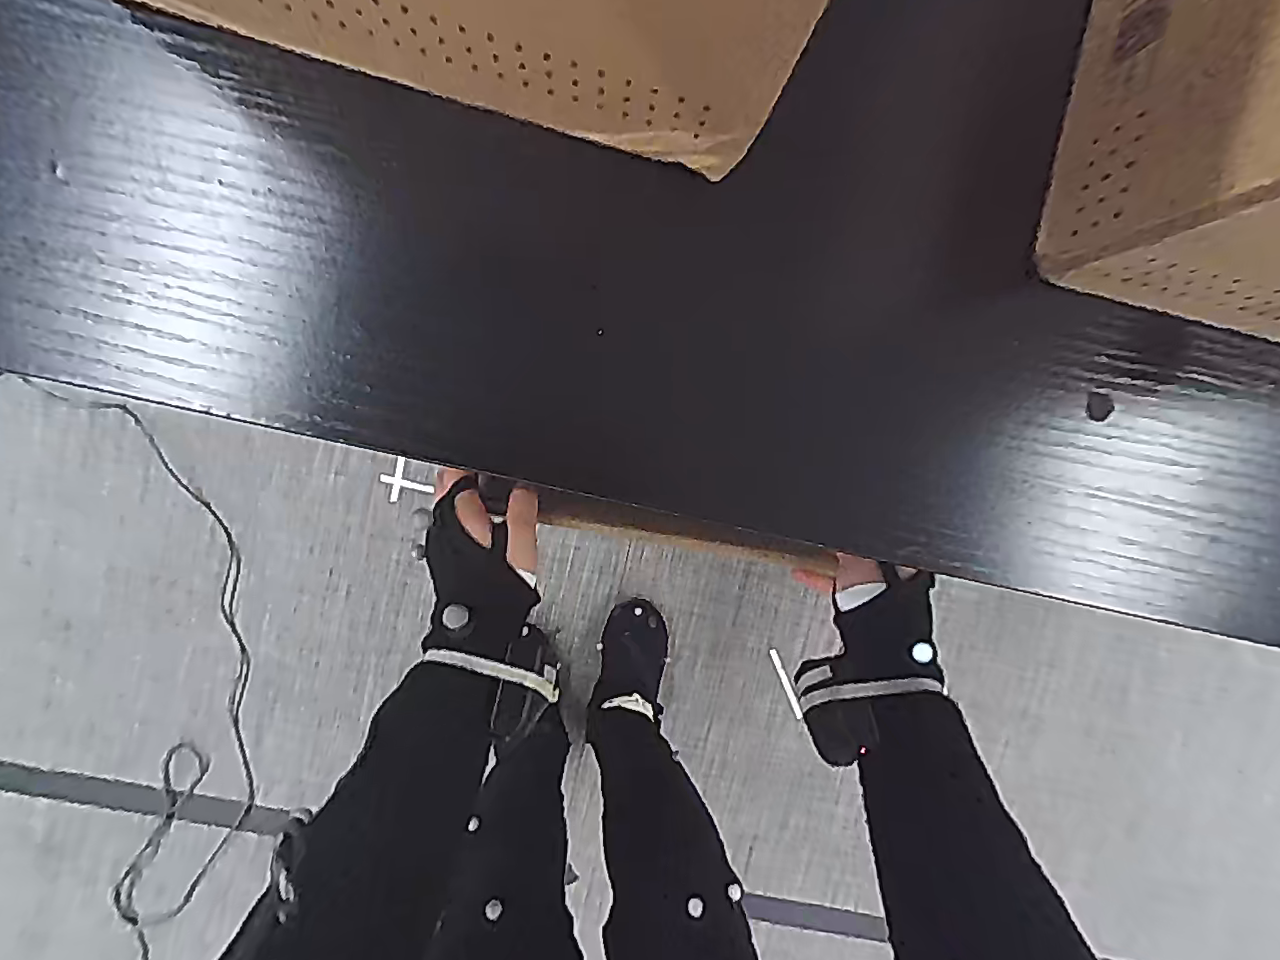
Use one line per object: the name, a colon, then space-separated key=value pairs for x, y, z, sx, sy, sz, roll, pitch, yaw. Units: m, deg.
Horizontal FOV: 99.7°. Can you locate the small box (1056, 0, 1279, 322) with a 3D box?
small box: x=0.230 y=-0.121 z=0.089 sx=0.179 sy=0.176 sz=0.168 roll=11 pitch=93 yaw=-6

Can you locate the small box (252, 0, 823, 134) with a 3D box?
small box: x=-0.025 y=-0.181 z=0.062 sx=0.179 sy=0.176 sz=0.168 roll=13 pitch=94 yaw=-7
